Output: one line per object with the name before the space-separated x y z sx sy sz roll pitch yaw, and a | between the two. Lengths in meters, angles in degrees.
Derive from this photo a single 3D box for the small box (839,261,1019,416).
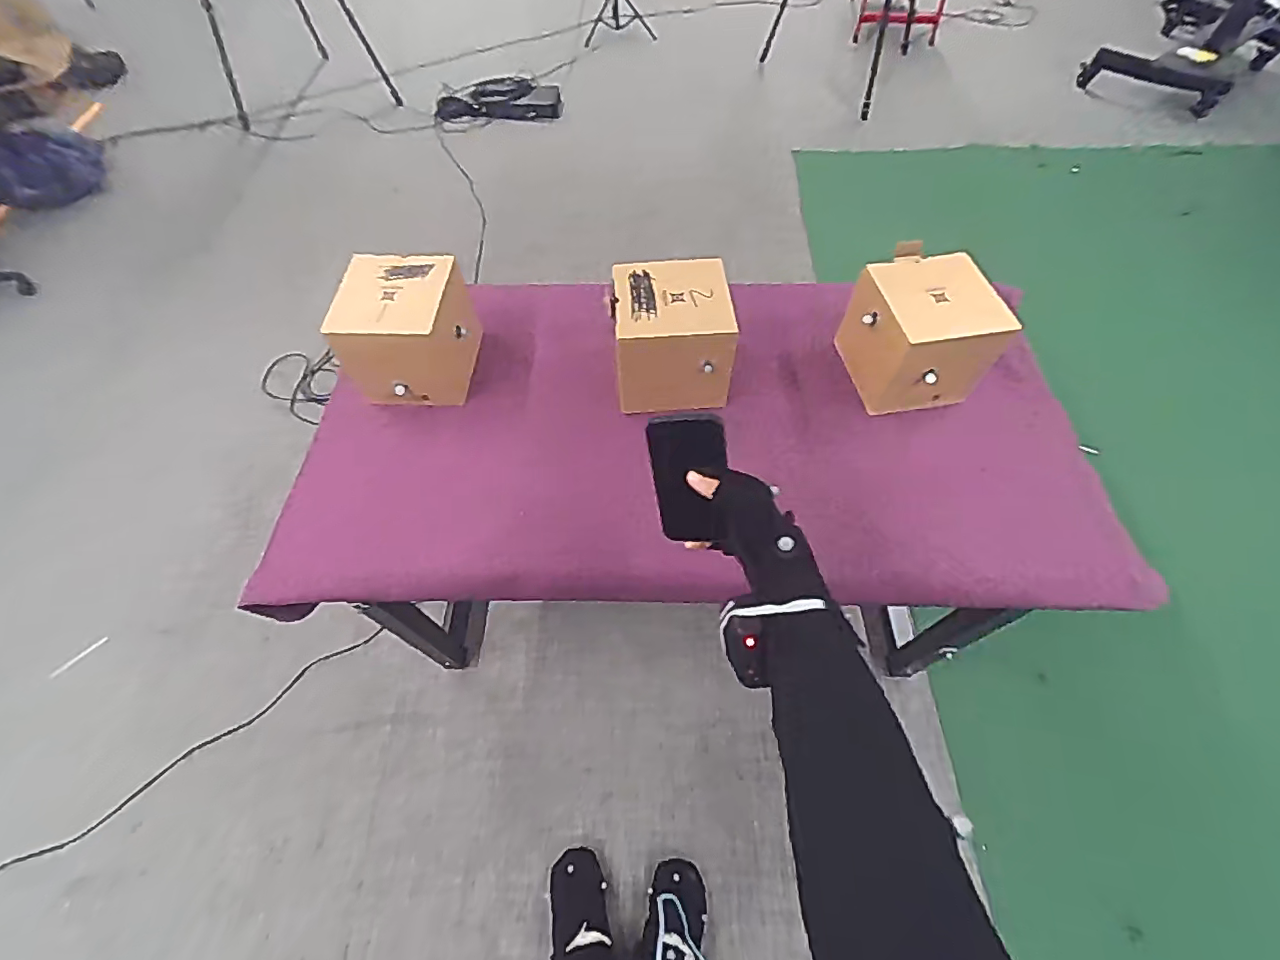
small box | 0.441 -0.216 0.862 0.168 0.176 0.179 -8 58 -3

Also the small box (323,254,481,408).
small box | -0.372 -0.241 0.885 0.168 0.176 0.179 2 60 2
